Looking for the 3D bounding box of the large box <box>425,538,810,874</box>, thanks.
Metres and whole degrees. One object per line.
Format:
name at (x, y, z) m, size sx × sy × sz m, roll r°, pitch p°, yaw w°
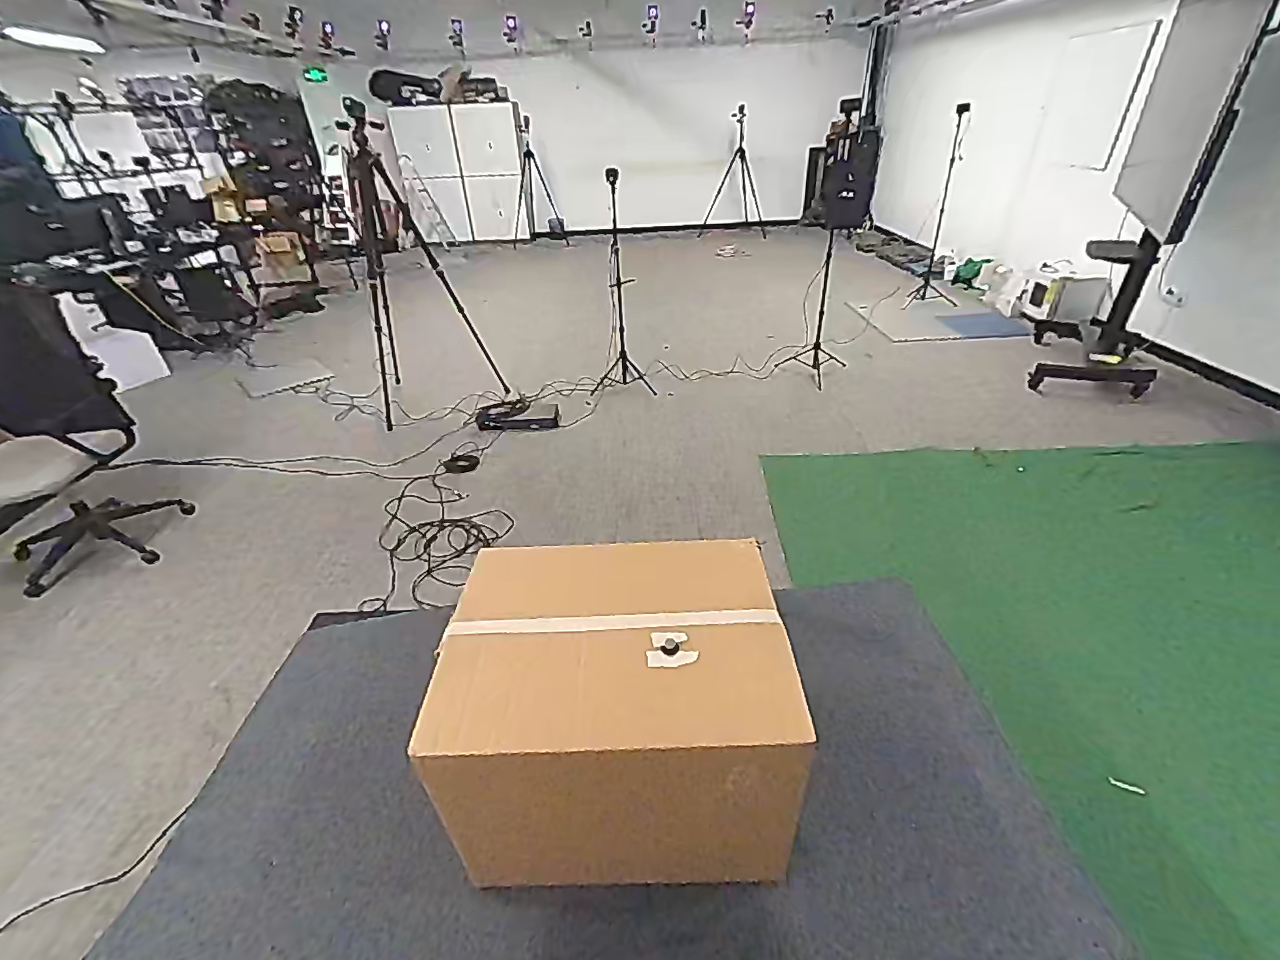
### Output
large box at (-0.023, 0.302, 0.752) m, size 0.408 × 0.320 × 0.320 m, roll -2°, pitch 34°, yaw 0°
